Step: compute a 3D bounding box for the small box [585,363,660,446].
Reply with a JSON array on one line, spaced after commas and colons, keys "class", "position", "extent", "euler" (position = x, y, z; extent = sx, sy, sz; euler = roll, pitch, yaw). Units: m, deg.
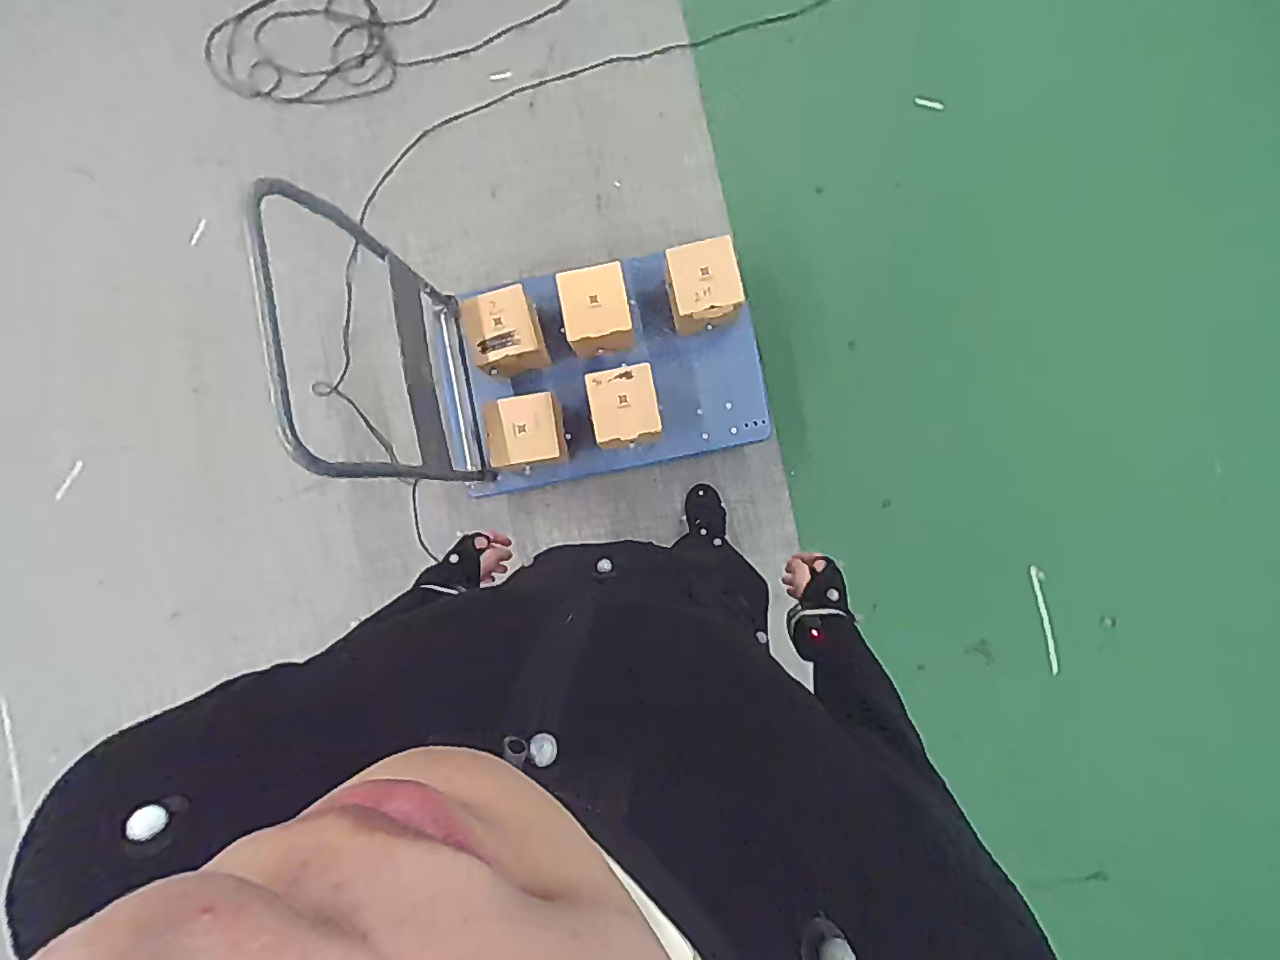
[{"class": "small box", "position": [-0.041, -0.188, 1.401], "extent": [0.168, 0.176, 0.179], "euler": [-10, 88, 0]}]

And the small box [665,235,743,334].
[{"class": "small box", "position": [0.160, -0.502, 1.408], "extent": [0.168, 0.176, 0.179], "euler": [-12, 87, 2]}]

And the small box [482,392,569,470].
[{"class": "small box", "position": [-0.292, -0.122, 1.408], "extent": [0.179, 0.176, 0.168], "euler": [-9, 88, 0]}]

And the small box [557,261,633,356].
[{"class": "small box", "position": [-0.113, -0.442, 1.418], "extent": [0.168, 0.176, 0.179], "euler": [-11, 89, 1]}]
